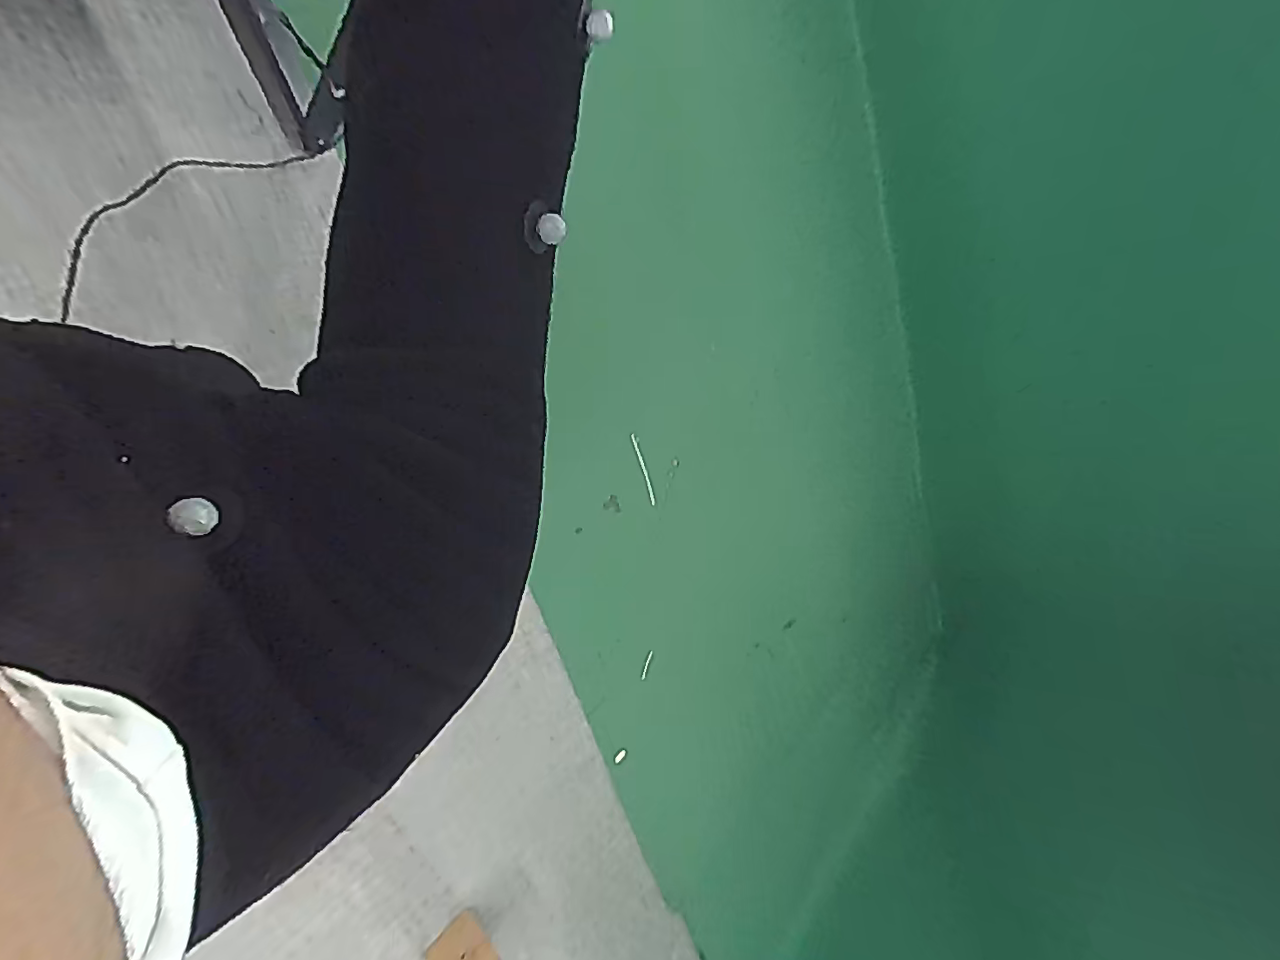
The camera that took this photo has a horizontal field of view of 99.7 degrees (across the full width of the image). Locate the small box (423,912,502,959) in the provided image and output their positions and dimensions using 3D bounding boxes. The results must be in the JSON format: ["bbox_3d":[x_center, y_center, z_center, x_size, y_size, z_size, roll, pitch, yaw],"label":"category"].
[{"bbox_3d":[-0.553,1.530,1.703,0.179,0.176,0.168,-33,113,-35],"label":"small box"}]
